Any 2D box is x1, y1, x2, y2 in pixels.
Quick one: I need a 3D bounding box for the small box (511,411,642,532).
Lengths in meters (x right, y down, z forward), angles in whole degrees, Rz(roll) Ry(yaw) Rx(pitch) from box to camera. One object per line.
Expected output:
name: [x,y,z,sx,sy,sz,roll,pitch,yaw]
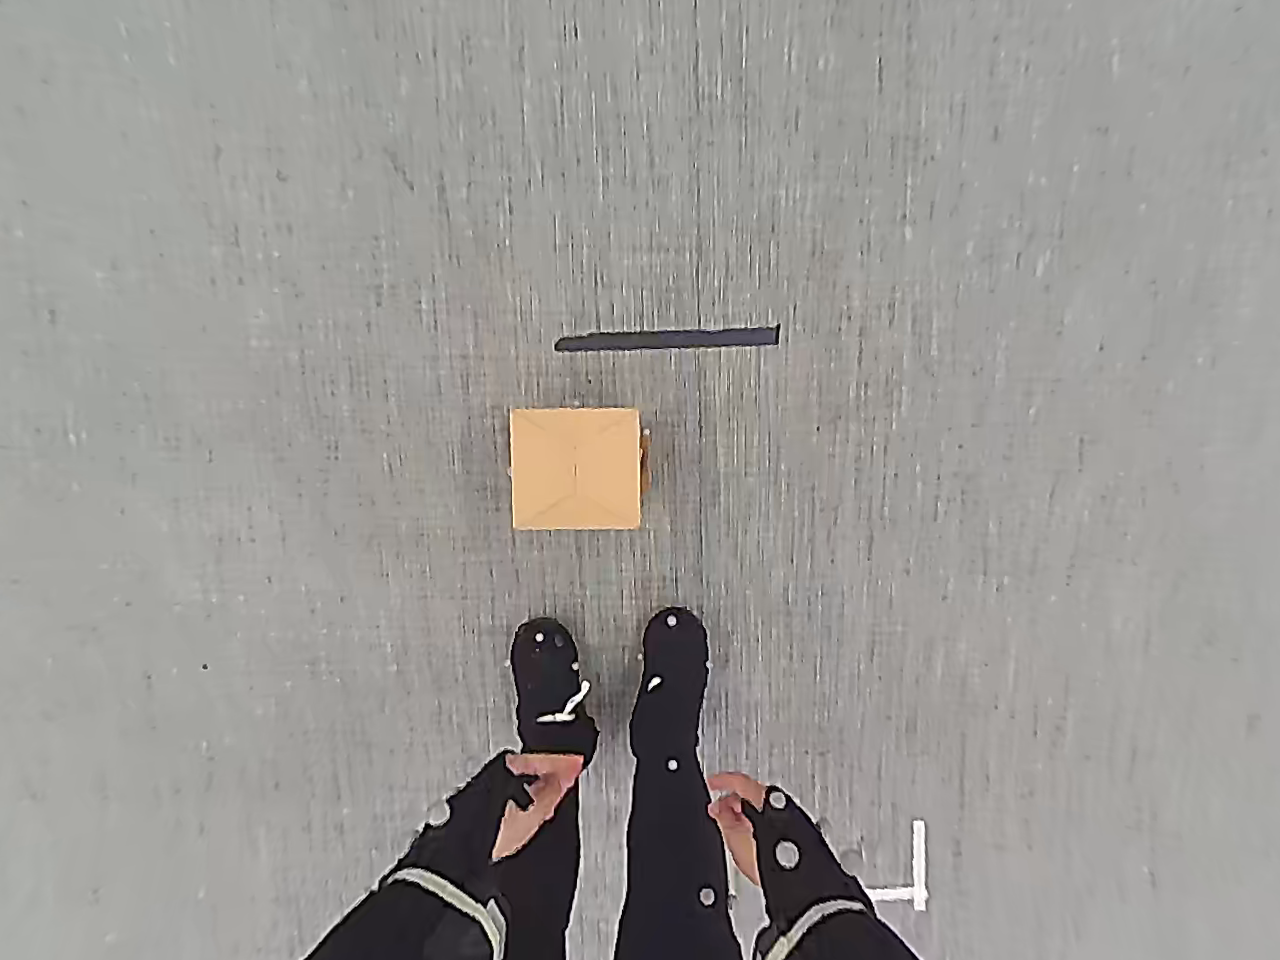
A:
small box: [-0.085,-0.017,0.814,0.179,0.176,0.168,0,95,-1]
